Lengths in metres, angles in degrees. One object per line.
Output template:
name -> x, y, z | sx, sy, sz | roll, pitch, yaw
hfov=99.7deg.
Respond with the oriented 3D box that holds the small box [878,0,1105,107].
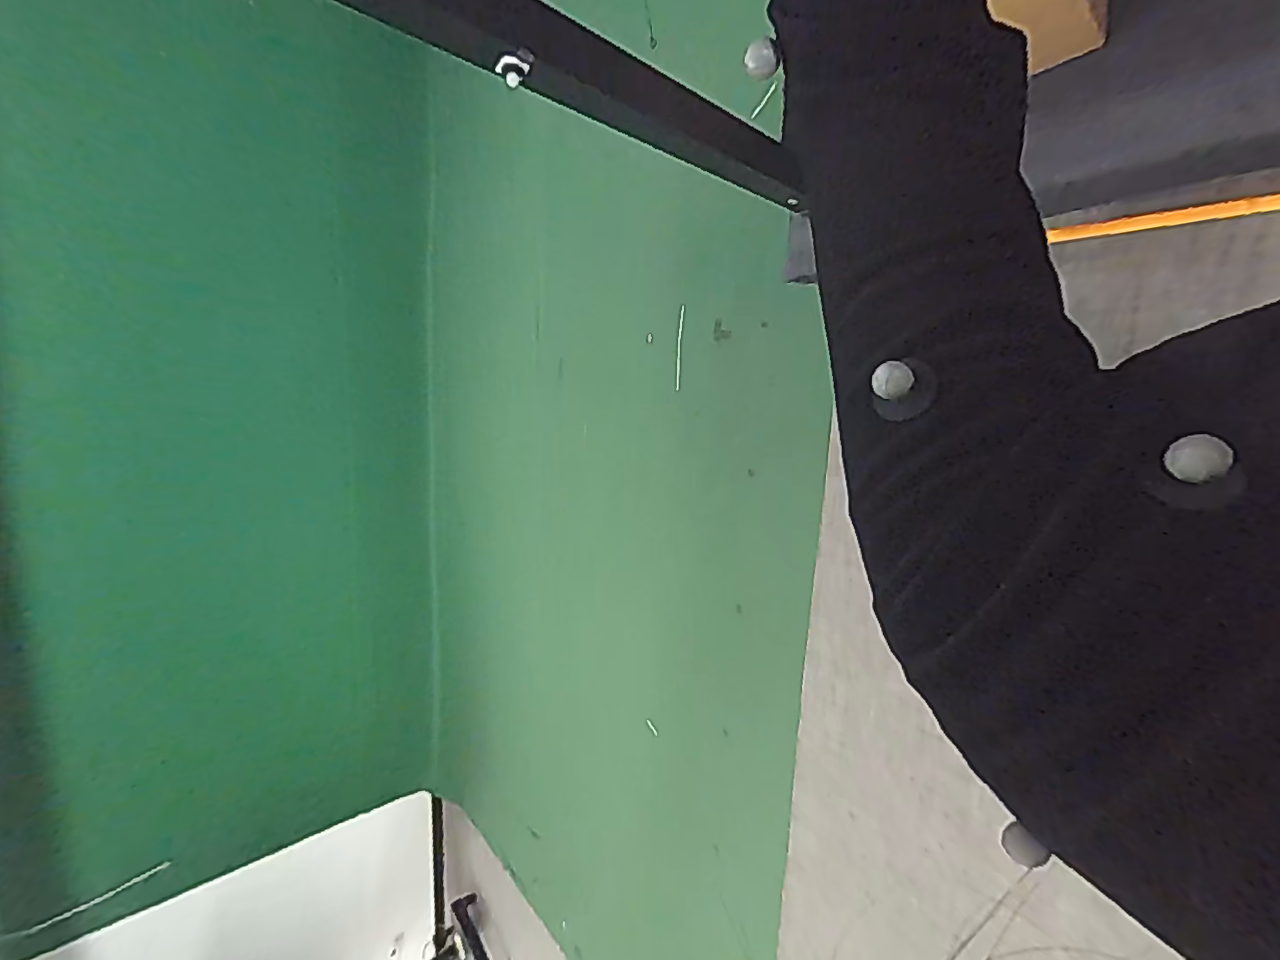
small box -> 0.387, -0.557, 0.595 | 0.179, 0.176, 0.168 | 4, 98, 48
